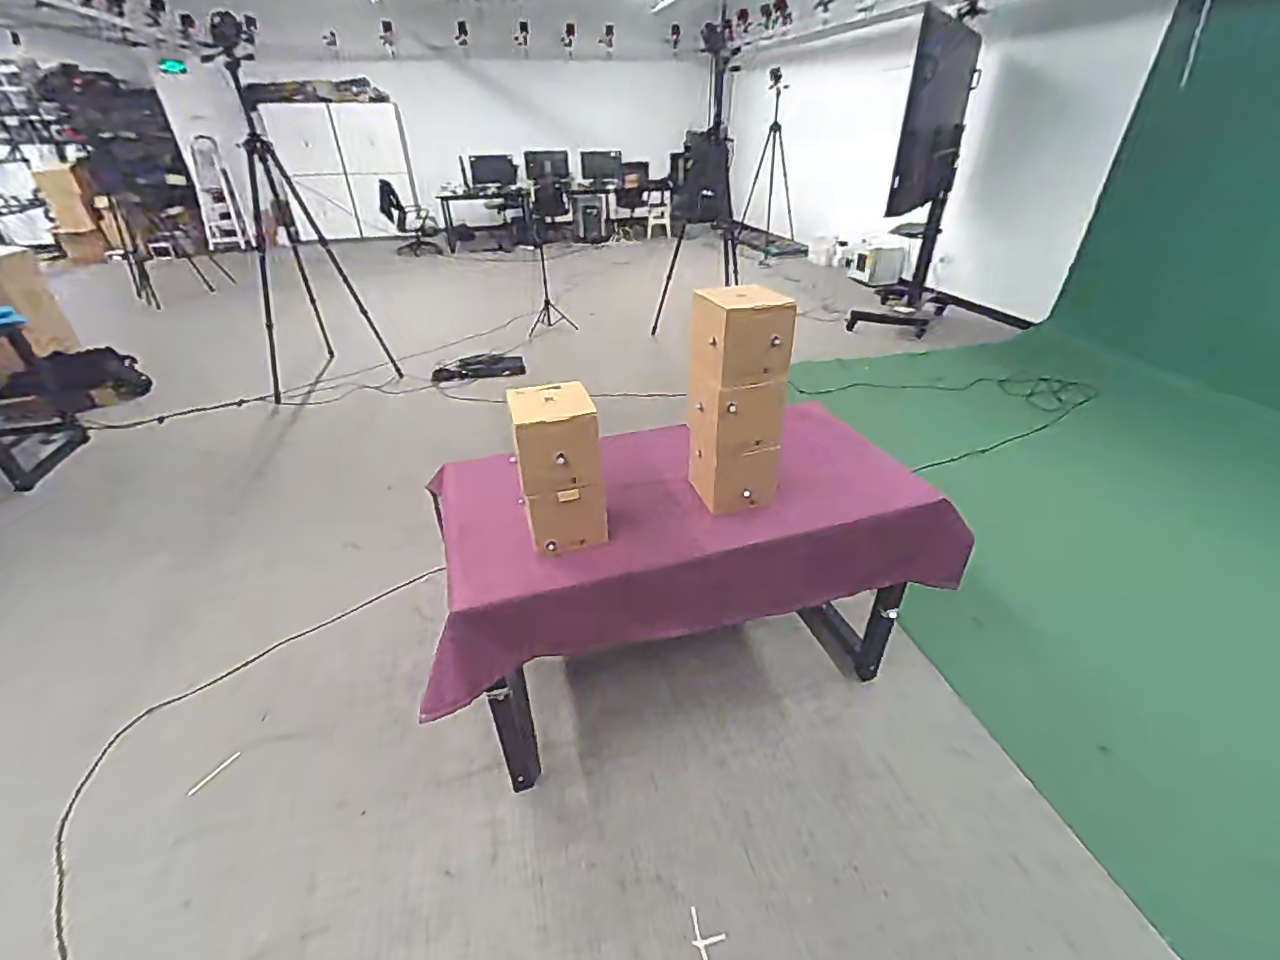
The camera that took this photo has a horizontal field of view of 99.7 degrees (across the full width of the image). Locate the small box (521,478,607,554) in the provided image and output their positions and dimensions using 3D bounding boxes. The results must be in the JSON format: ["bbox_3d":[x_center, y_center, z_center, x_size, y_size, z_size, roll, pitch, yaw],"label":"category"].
[{"bbox_3d":[-0.176,0.052,1.240,0.168,0.176,0.179,-11,33,-15],"label":"small box"}]

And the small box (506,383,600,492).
[{"bbox_3d":[-0.185,-0.086,1.151,0.168,0.176,0.179,-10,35,-14],"label":"small box"}]

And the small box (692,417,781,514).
[{"bbox_3d":[0.232,-0.038,1.356,0.168,0.176,0.179,-10,34,-12],"label":"small box"}]

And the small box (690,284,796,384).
[{"bbox_3d":[0.218,-0.317,1.184,0.168,0.176,0.179,-11,33,-15],"label":"small box"}]
